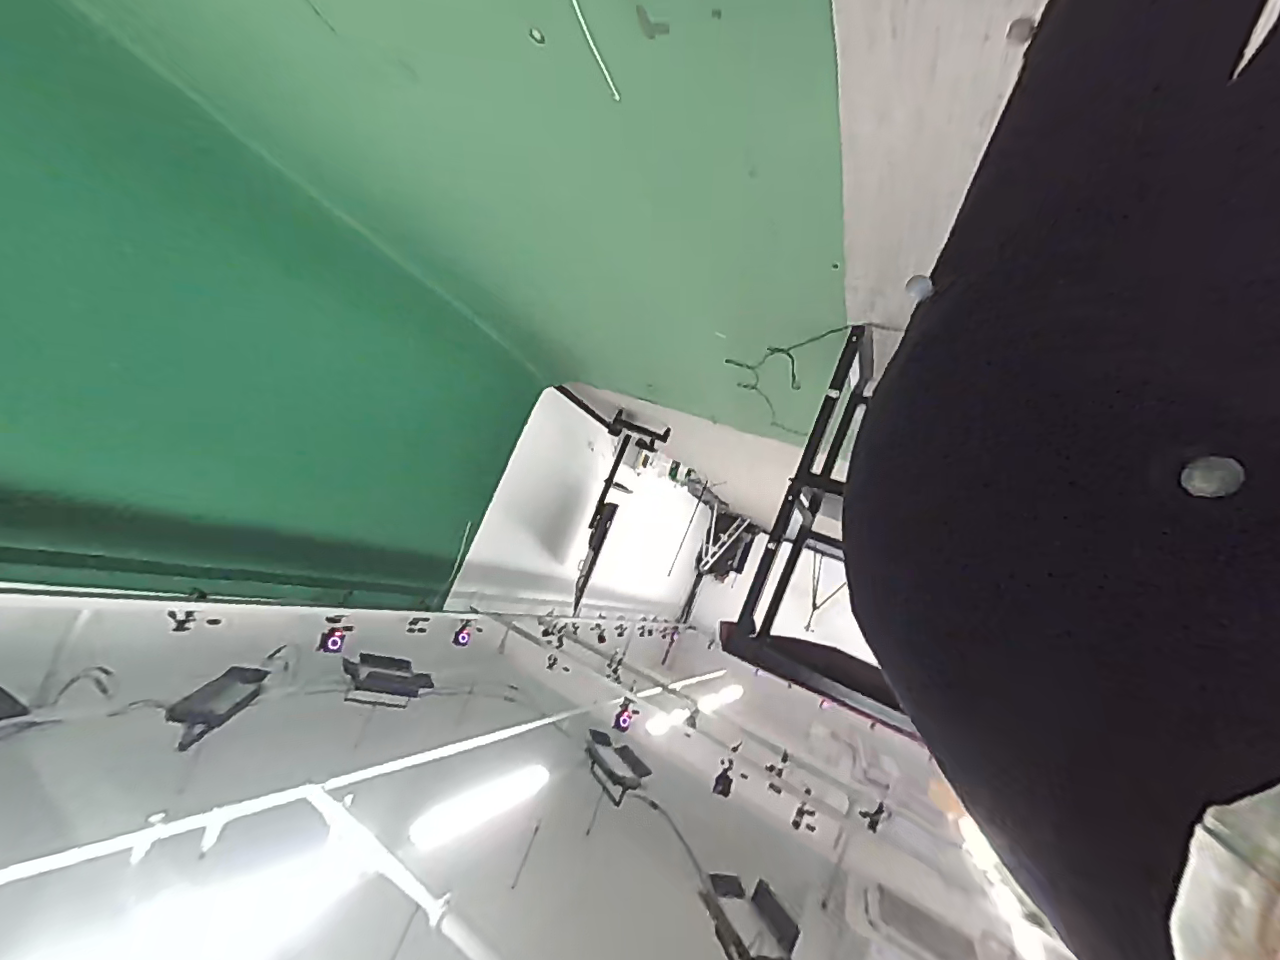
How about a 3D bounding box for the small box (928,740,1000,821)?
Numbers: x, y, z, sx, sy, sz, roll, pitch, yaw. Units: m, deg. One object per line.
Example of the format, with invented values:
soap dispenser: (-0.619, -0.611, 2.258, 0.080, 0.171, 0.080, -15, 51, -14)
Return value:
small box: (1.123, 1.033, 1.879, 0.168, 0.176, 0.179, 20, 175, 28)
